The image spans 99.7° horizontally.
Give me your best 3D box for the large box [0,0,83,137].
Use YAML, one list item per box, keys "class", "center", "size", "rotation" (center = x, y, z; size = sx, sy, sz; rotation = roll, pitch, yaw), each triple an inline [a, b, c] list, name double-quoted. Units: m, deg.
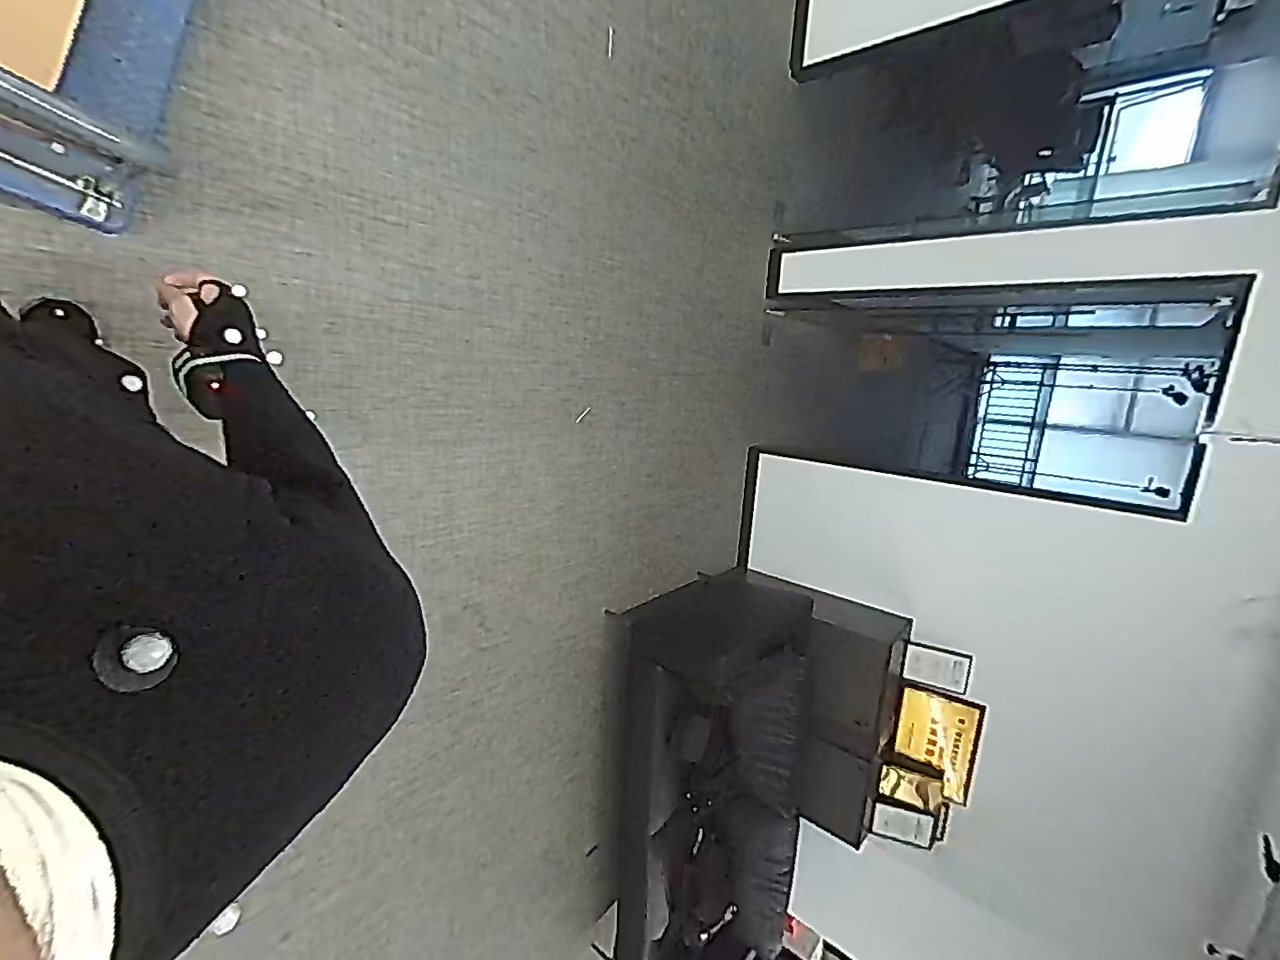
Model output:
- class: "large box"
  center: [-0.992, -0.790, 0.746]
  size: [0.320, 0.320, 0.408]
  rotation: [17, 86, -52]
